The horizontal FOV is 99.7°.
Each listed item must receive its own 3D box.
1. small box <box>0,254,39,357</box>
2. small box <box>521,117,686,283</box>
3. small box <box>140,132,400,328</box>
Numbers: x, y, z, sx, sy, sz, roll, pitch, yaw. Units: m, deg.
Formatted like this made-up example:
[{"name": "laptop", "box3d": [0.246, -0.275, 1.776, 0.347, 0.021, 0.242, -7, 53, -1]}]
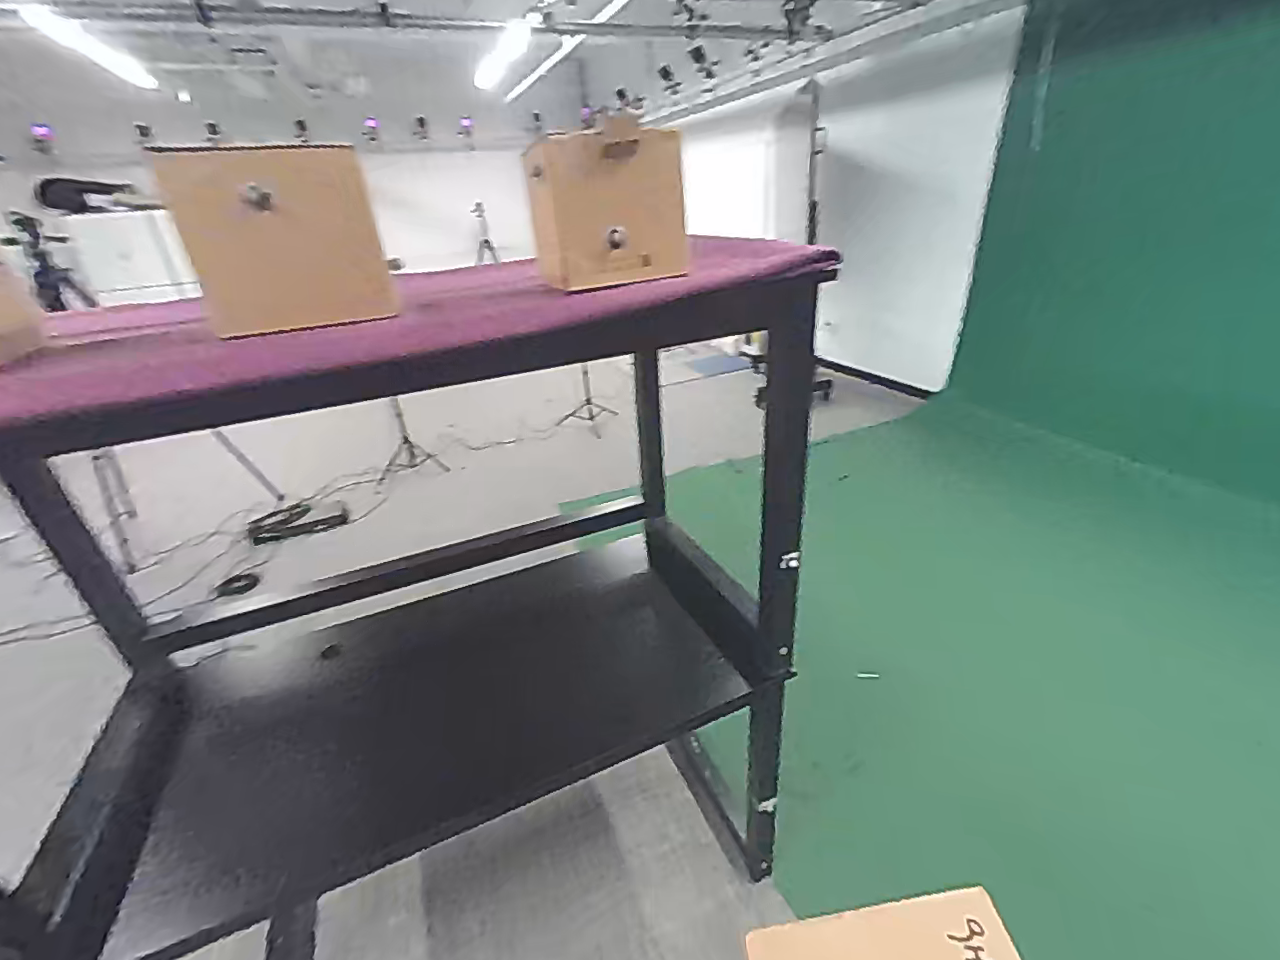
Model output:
[{"name": "small box", "box3d": [-0.688, -0.171, 0.461, 0.168, 0.176, 0.179, -17, 31, -21]}, {"name": "small box", "box3d": [-0.049, -0.357, 0.709, 0.168, 0.176, 0.179, -15, 27, -15]}, {"name": "small box", "box3d": [-0.383, -0.272, 0.601, 0.179, 0.176, 0.168, -14, 27, -18]}]
